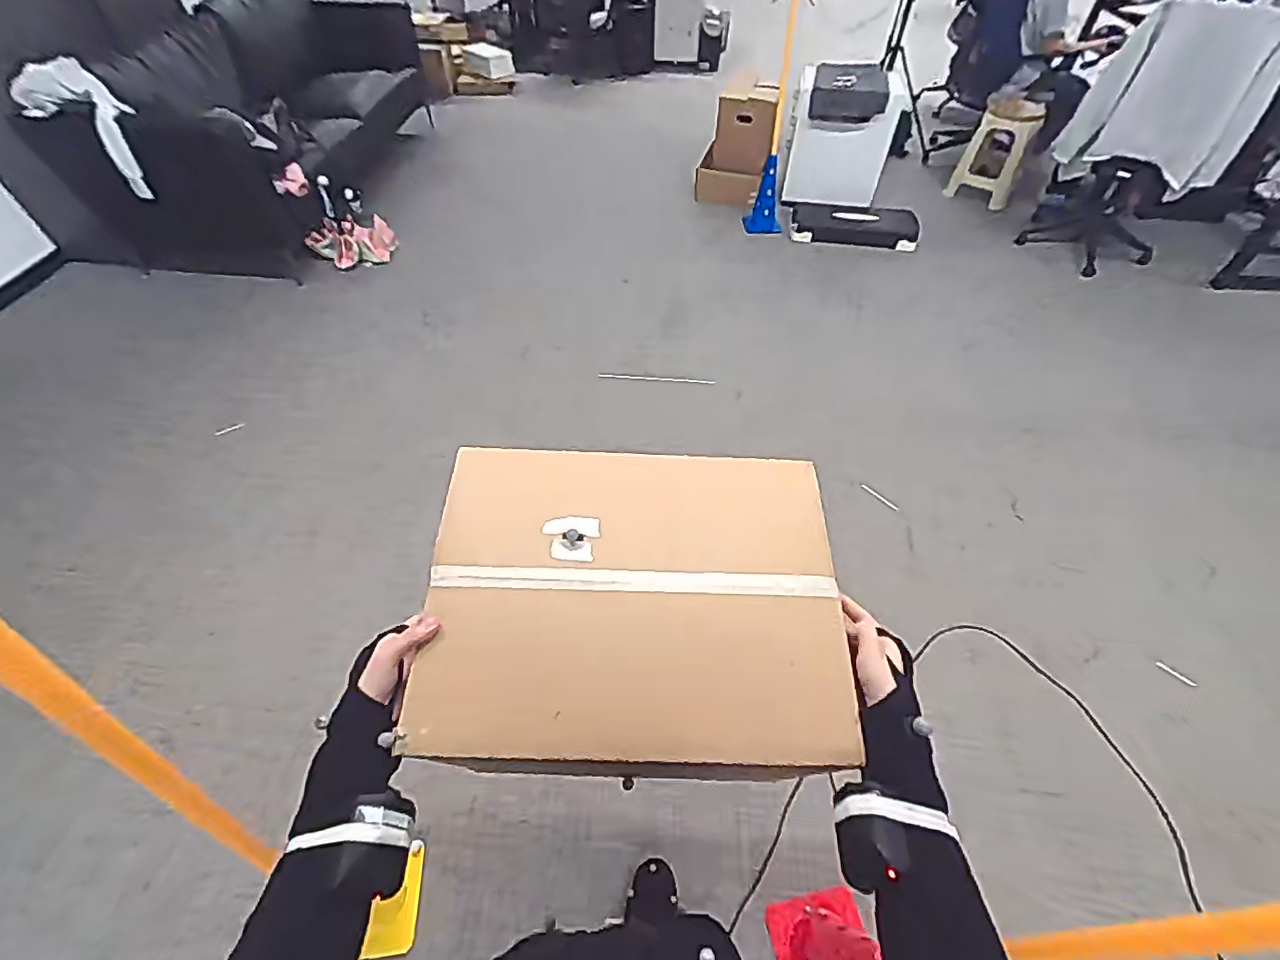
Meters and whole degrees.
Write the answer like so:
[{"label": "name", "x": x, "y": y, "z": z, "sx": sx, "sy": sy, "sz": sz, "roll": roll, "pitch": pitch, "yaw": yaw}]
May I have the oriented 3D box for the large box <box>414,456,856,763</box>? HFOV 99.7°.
[{"label": "large box", "x": -0.004, "y": 0.181, "z": 0.683, "sx": 0.408, "sy": 0.320, "sz": 0.320, "roll": 1, "pitch": 59, "yaw": -1}]
